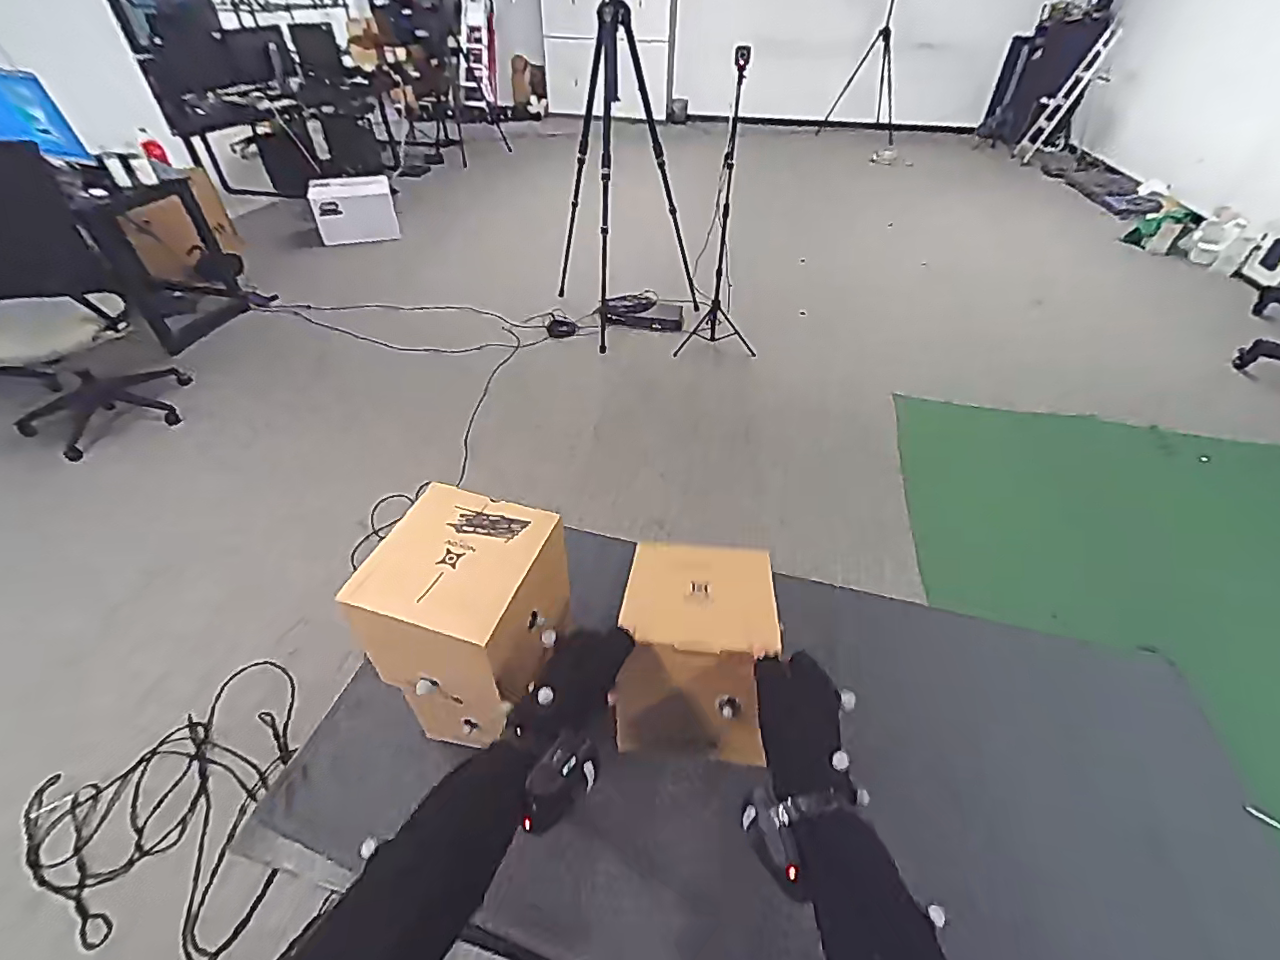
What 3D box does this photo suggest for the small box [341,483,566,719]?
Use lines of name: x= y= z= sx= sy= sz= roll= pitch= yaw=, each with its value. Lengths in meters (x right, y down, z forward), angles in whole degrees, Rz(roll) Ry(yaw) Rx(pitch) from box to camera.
small box: x=-0.191 y=0.135 z=0.617 sx=0.168 sy=0.176 sz=0.179 roll=13 pitch=44 yaw=12
